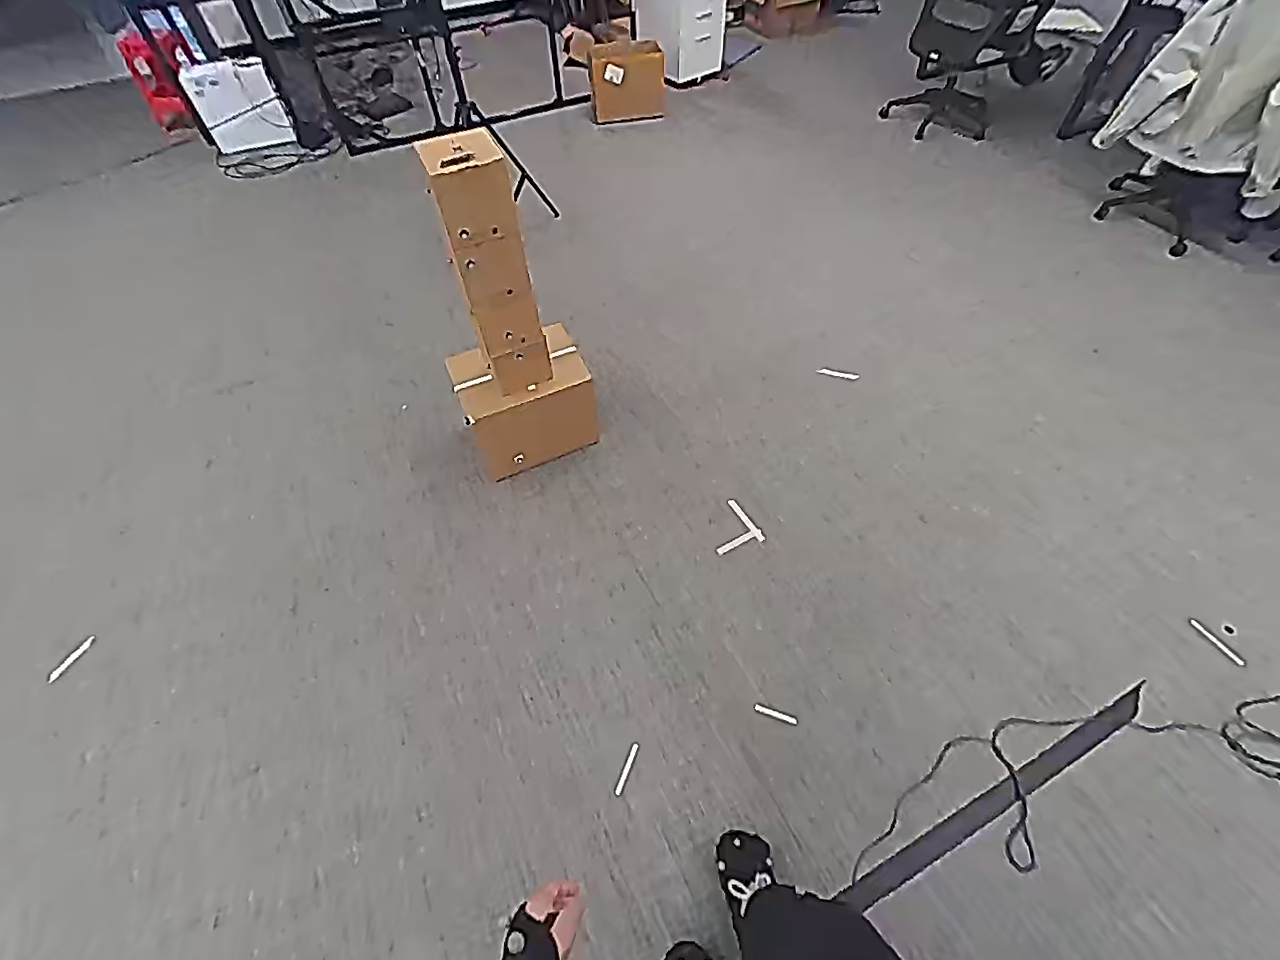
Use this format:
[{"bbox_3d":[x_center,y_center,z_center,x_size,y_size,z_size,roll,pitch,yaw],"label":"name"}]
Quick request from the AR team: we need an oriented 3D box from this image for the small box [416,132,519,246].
[{"bbox_3d":[-0.393,-0.664,1.250,0.168,0.176,0.179,-22,57,-14],"label":"small box"}]

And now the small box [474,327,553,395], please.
[{"bbox_3d":[-0.382,-0.388,1.655,0.179,0.176,0.168,-24,58,-16],"label":"small box"}]

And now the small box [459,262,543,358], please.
[{"bbox_3d":[-0.386,-0.475,1.518,0.168,0.176,0.179,-24,58,-14],"label":"small box"}]
